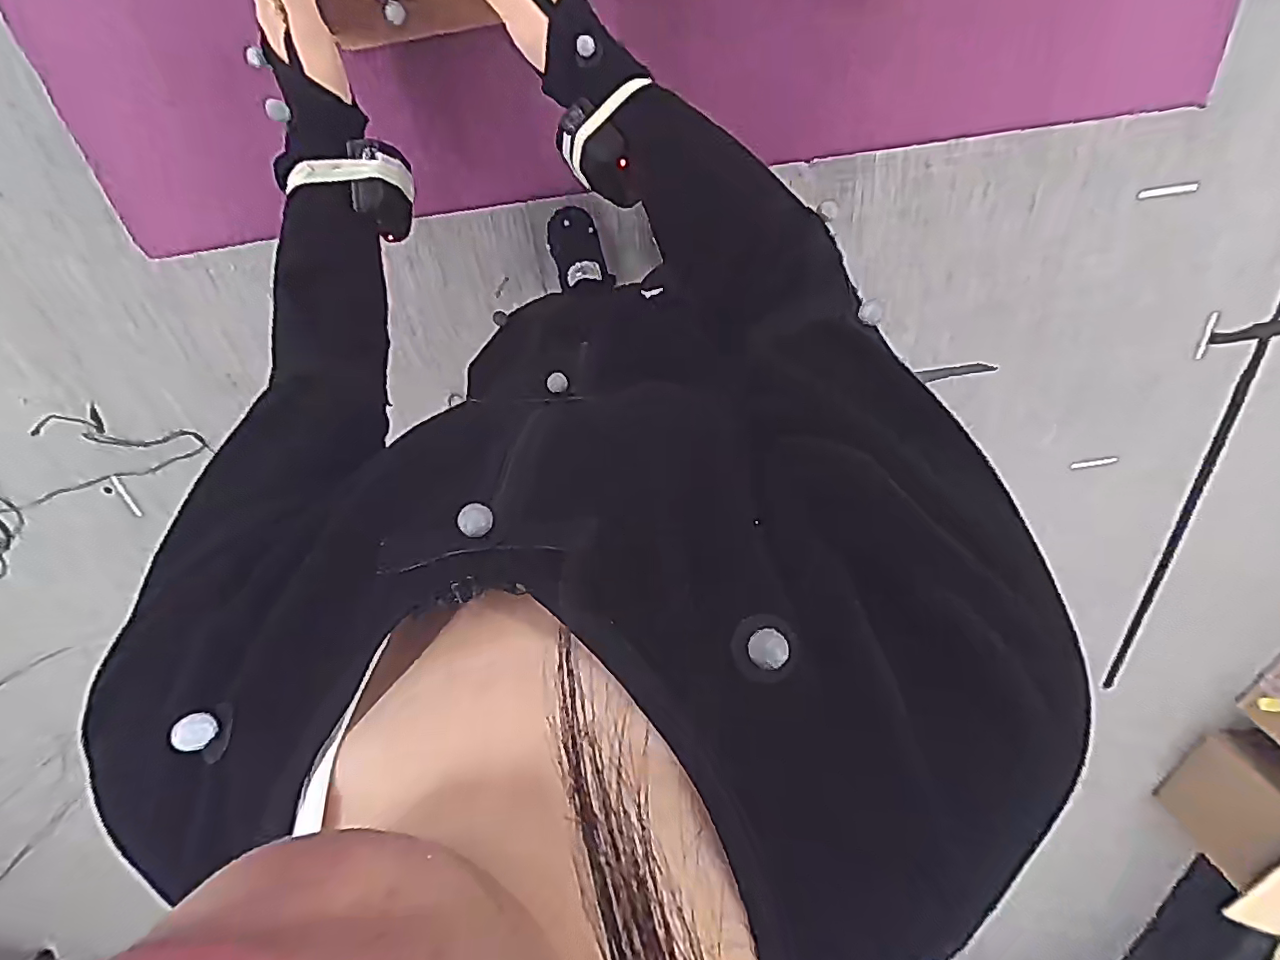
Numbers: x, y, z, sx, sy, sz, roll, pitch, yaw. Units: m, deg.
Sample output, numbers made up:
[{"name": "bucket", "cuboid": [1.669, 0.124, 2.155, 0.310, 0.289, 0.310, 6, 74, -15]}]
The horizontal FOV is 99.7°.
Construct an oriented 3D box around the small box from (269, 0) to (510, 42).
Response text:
[{"name": "small box", "cuboid": [-0.204, -0.468, 0.418, 0.179, 0.176, 0.168, -10, 120, 0]}]
